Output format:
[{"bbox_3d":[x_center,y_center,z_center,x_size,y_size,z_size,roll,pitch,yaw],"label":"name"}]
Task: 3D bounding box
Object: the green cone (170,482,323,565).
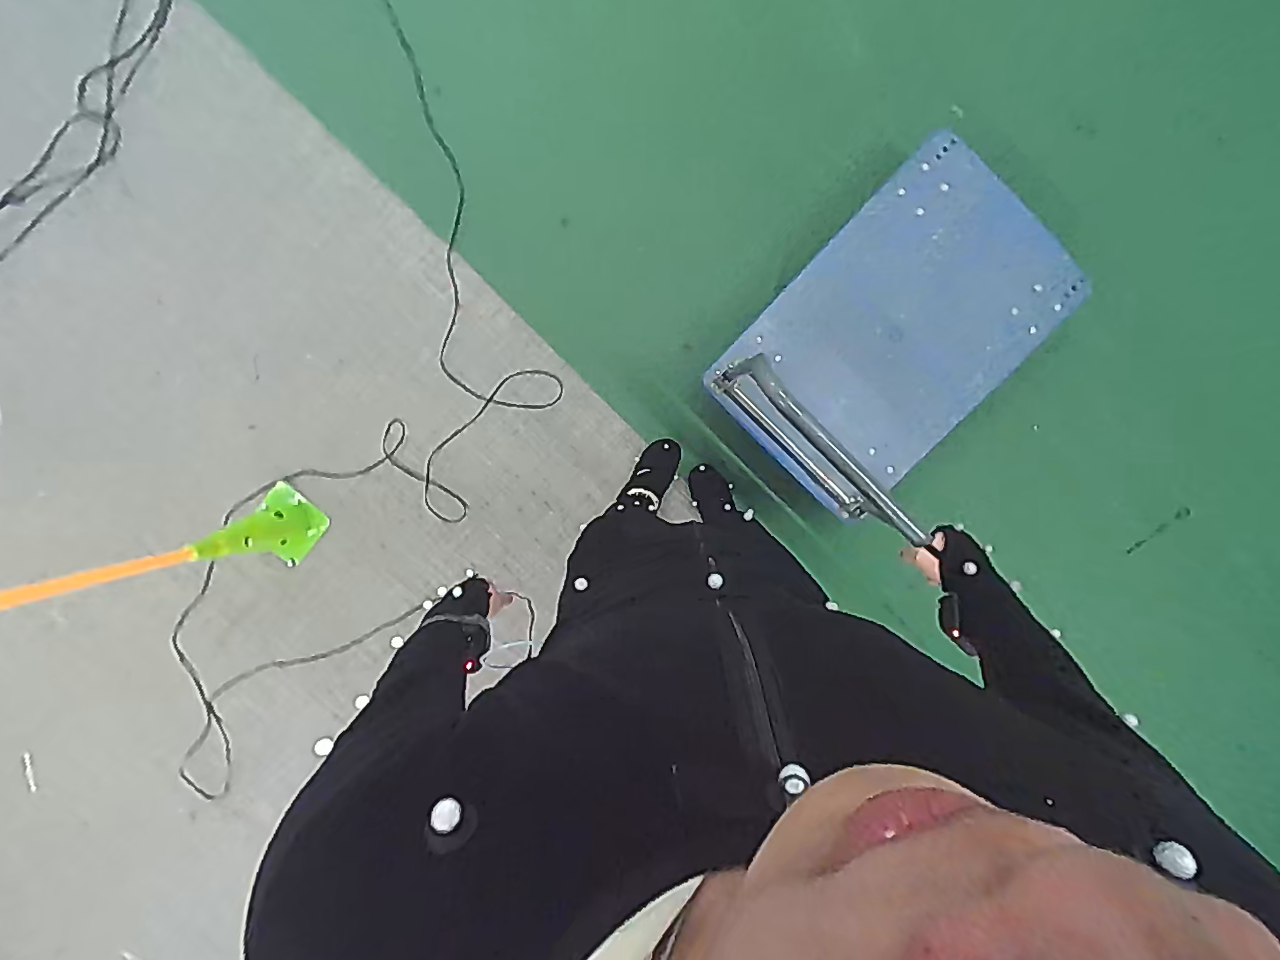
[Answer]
[{"bbox_3d":[-1.091,0.150,1.466,0.202,0.368,0.200,41,96,-2],"label":"green cone"}]
